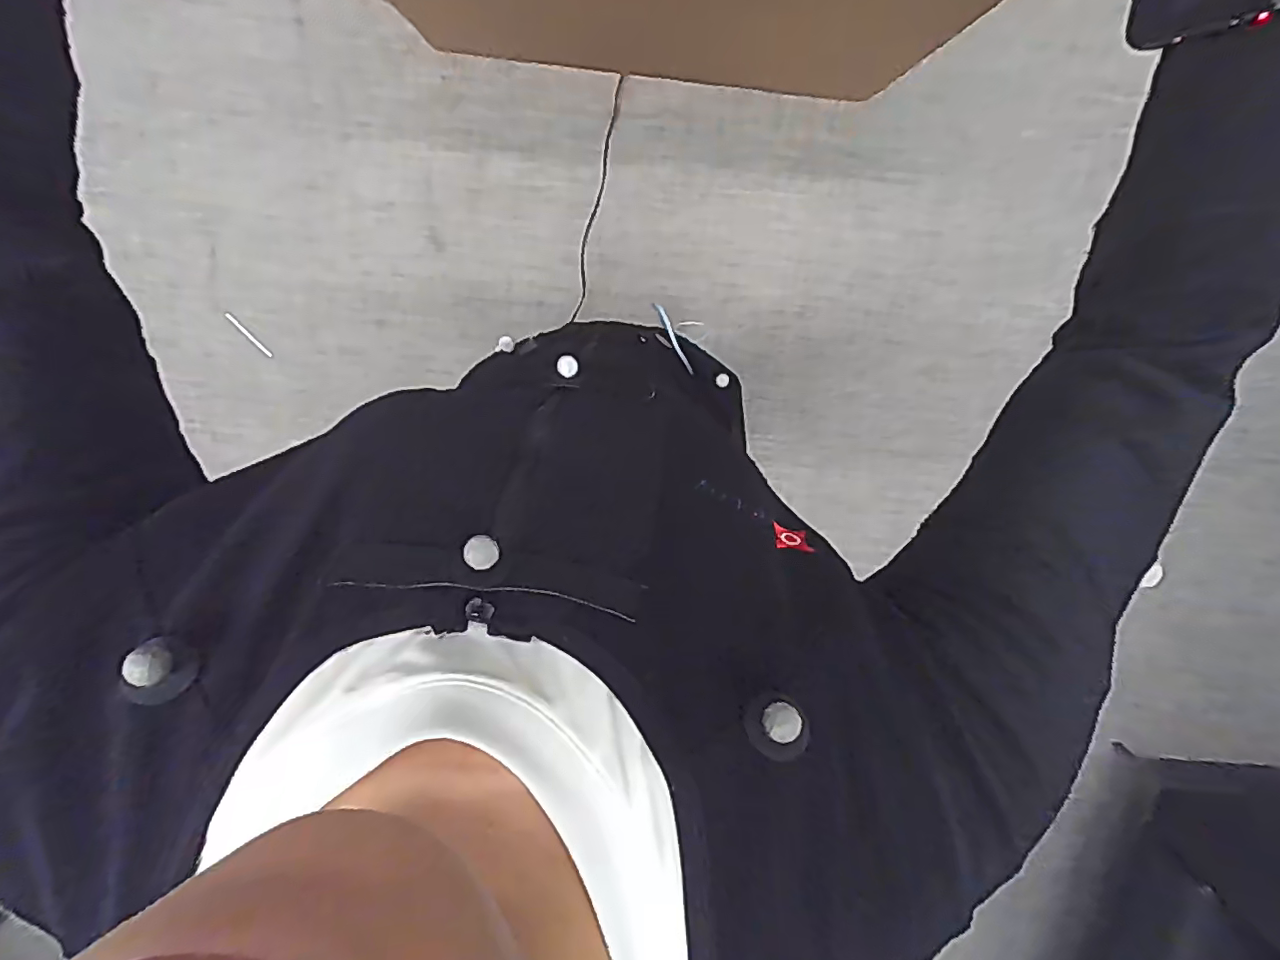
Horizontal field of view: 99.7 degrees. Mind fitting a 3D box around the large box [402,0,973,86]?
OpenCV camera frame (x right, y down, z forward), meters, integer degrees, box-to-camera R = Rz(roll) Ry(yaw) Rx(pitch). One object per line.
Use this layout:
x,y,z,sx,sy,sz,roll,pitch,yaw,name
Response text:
0.026,-0.462,0.304,0.408,0.320,0.320,5,113,-1,large box
